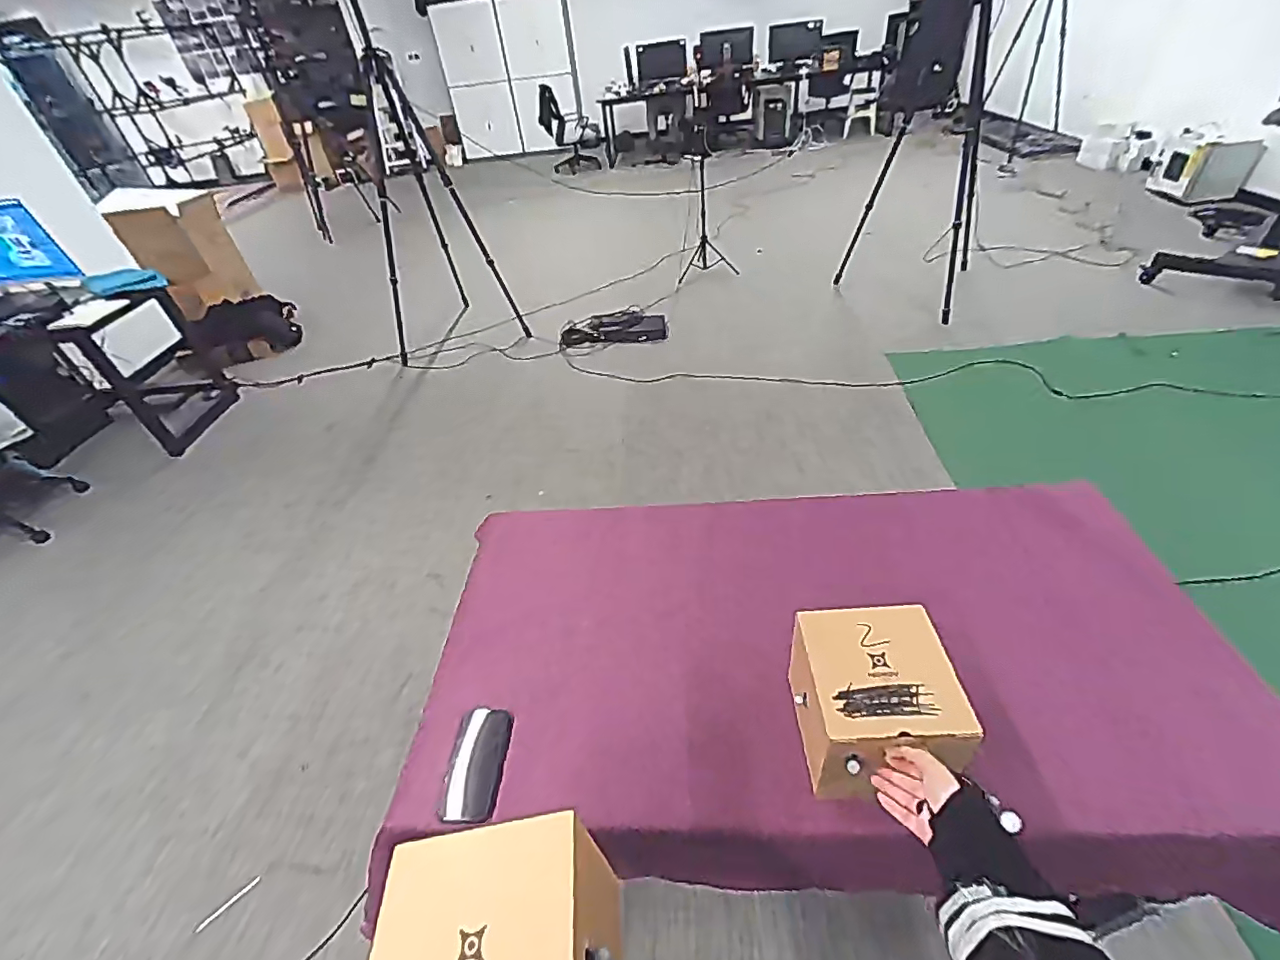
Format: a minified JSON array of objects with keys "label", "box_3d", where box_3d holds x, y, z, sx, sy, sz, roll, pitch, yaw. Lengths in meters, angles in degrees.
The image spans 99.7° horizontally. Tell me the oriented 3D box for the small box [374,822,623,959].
[{"label":"small box","box_3d":[-0.109,0.424,0.450,0.168,0.176,0.179,-12,37,2]}]
